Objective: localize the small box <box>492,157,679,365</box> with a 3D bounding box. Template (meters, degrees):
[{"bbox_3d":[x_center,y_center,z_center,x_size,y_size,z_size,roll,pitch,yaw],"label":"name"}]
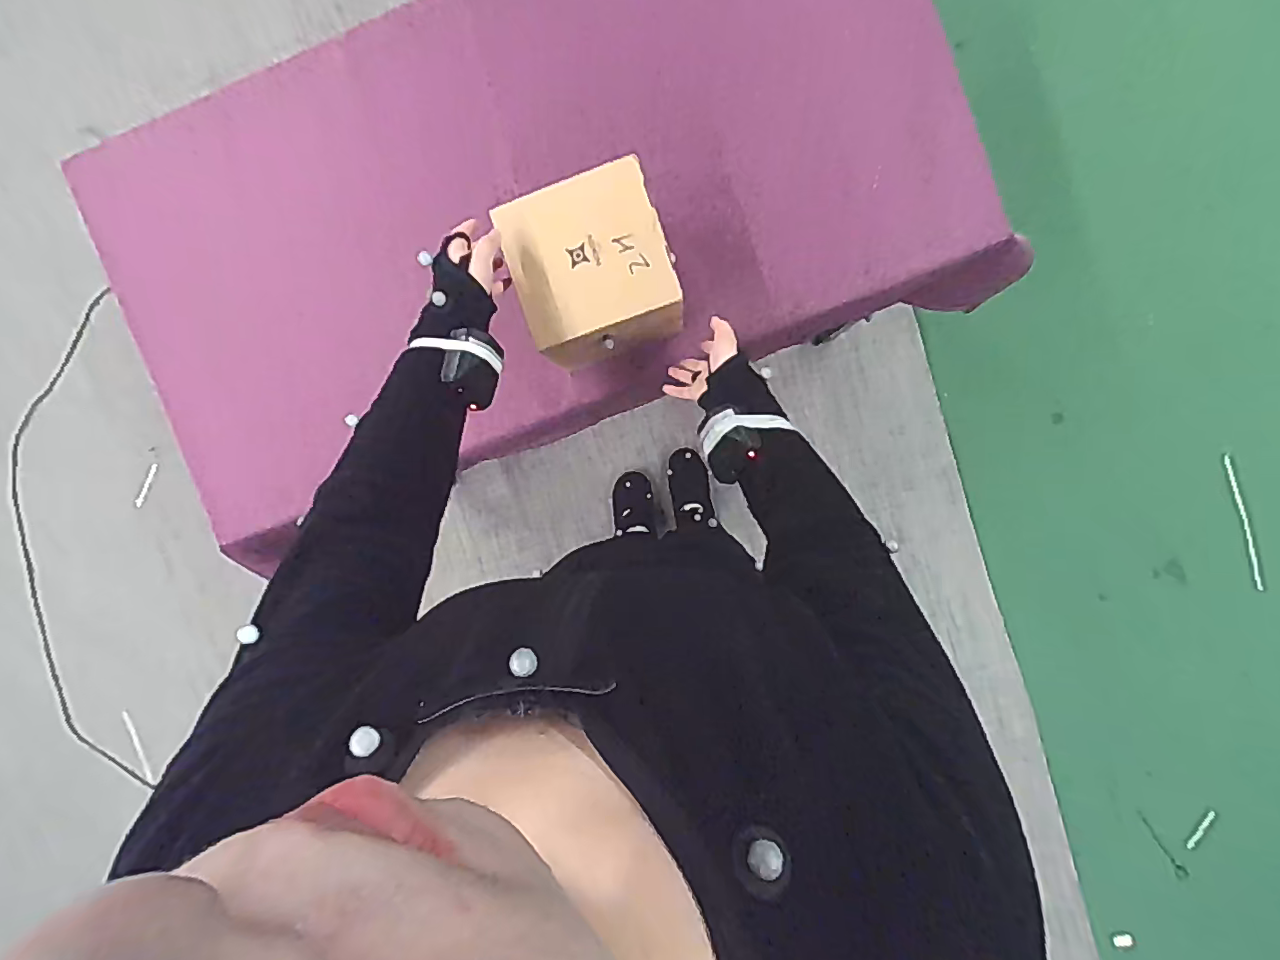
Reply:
[{"bbox_3d":[-0.055,-0.254,0.675,0.179,0.176,0.168,-18,93,4],"label":"small box"}]
